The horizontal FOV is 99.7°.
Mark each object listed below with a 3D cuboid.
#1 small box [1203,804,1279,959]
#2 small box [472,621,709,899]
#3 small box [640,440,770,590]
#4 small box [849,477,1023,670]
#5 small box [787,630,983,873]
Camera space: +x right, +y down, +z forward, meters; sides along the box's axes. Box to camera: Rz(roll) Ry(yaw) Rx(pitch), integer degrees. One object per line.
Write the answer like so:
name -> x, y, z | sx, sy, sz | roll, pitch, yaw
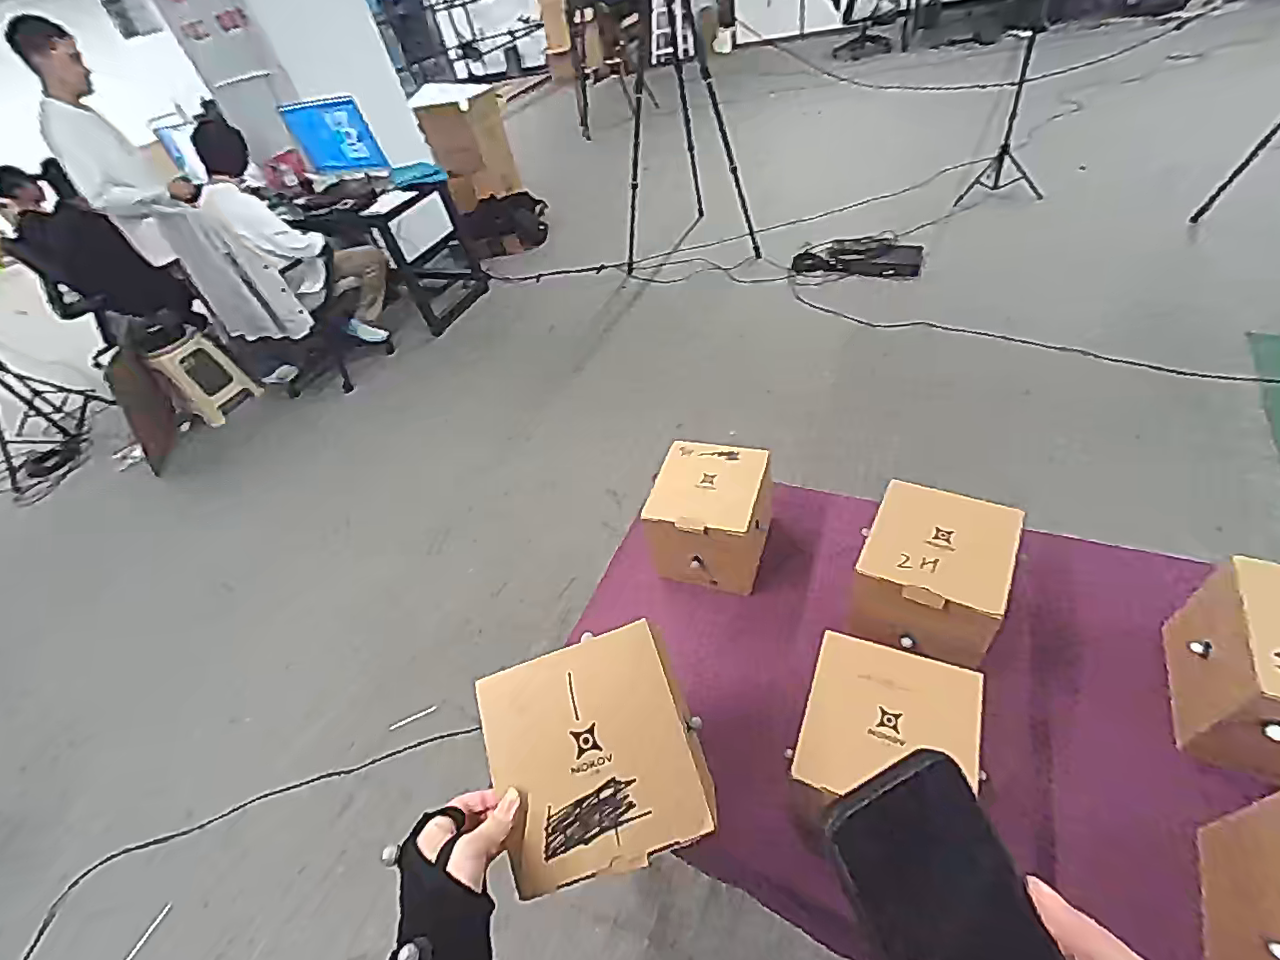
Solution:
small box -> 0.609, 0.392, 0.439 | 0.168, 0.176, 0.179 | 15, 53, 28
small box -> -0.037, 0.251, 0.528 | 0.168, 0.176, 0.179 | -21, 71, -1
small box -> 0.119, 0.060, 0.900 | 0.168, 0.176, 0.179 | 8, 51, 22
small box -> 0.401, 0.130, 0.751 | 0.168, 0.176, 0.179 | 17, 54, 30
small box -> 0.273, 0.309, 0.617 | 0.168, 0.176, 0.179 | 12, 50, 25
